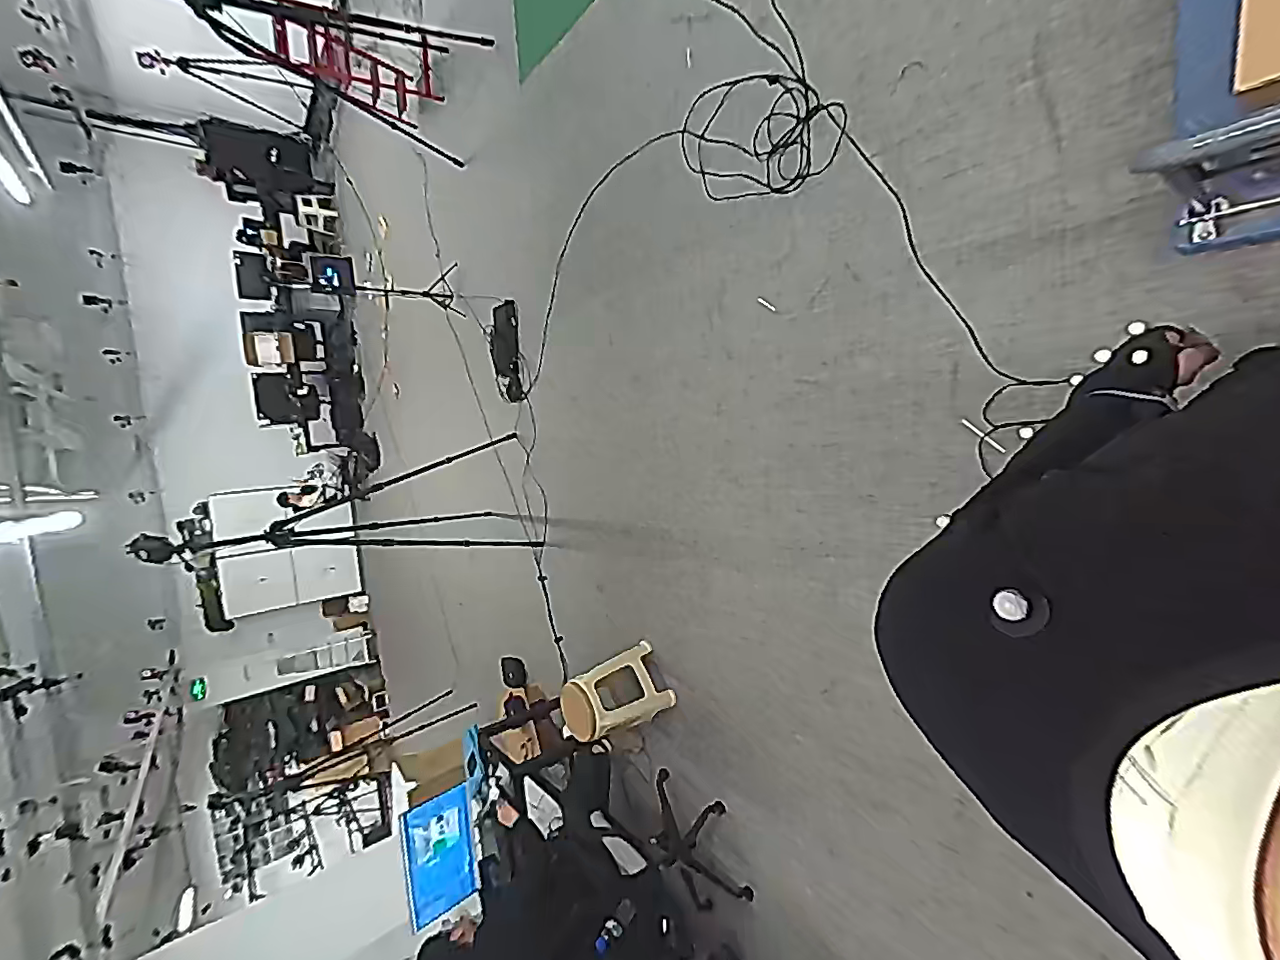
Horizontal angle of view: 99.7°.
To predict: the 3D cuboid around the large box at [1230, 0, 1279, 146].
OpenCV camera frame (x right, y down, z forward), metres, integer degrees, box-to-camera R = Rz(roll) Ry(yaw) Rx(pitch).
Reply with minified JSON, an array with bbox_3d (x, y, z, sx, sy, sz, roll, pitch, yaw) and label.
[{"bbox_3d":[1.048,-0.753,0.721,0.320,0.320,0.408,7,102,51],"label":"large box"}]
